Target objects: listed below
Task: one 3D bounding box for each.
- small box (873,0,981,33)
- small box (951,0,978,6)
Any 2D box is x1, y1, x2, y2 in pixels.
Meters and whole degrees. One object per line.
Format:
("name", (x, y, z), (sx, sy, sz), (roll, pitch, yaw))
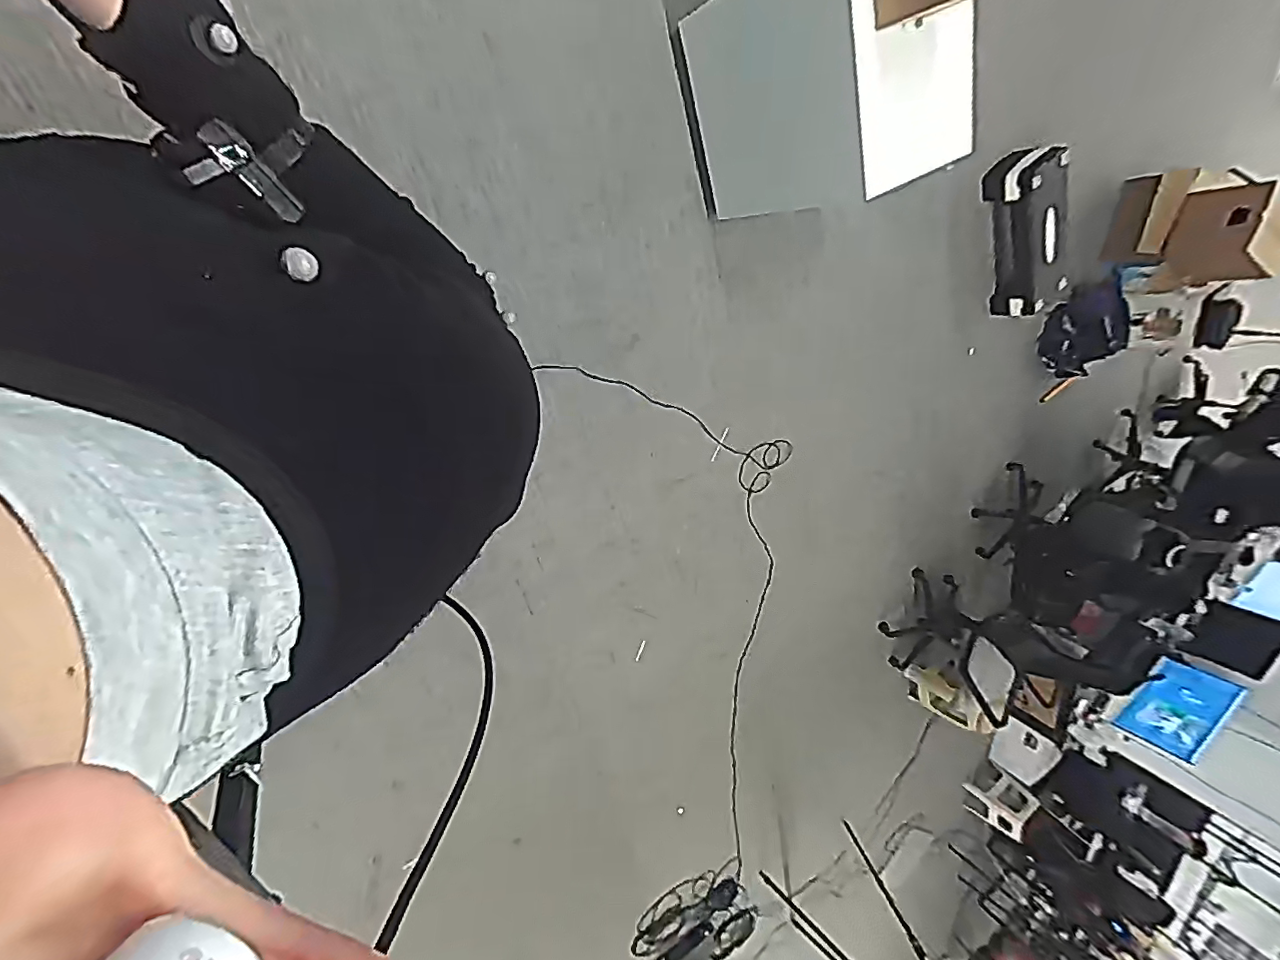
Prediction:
("small box", (0.573, -0.998, 1.039), (0.179, 0.176, 0.168), (-31, 122, -20))
("small box", (0.651, -0.942, 0.907), (0.179, 0.176, 0.168), (-31, 121, -18))
